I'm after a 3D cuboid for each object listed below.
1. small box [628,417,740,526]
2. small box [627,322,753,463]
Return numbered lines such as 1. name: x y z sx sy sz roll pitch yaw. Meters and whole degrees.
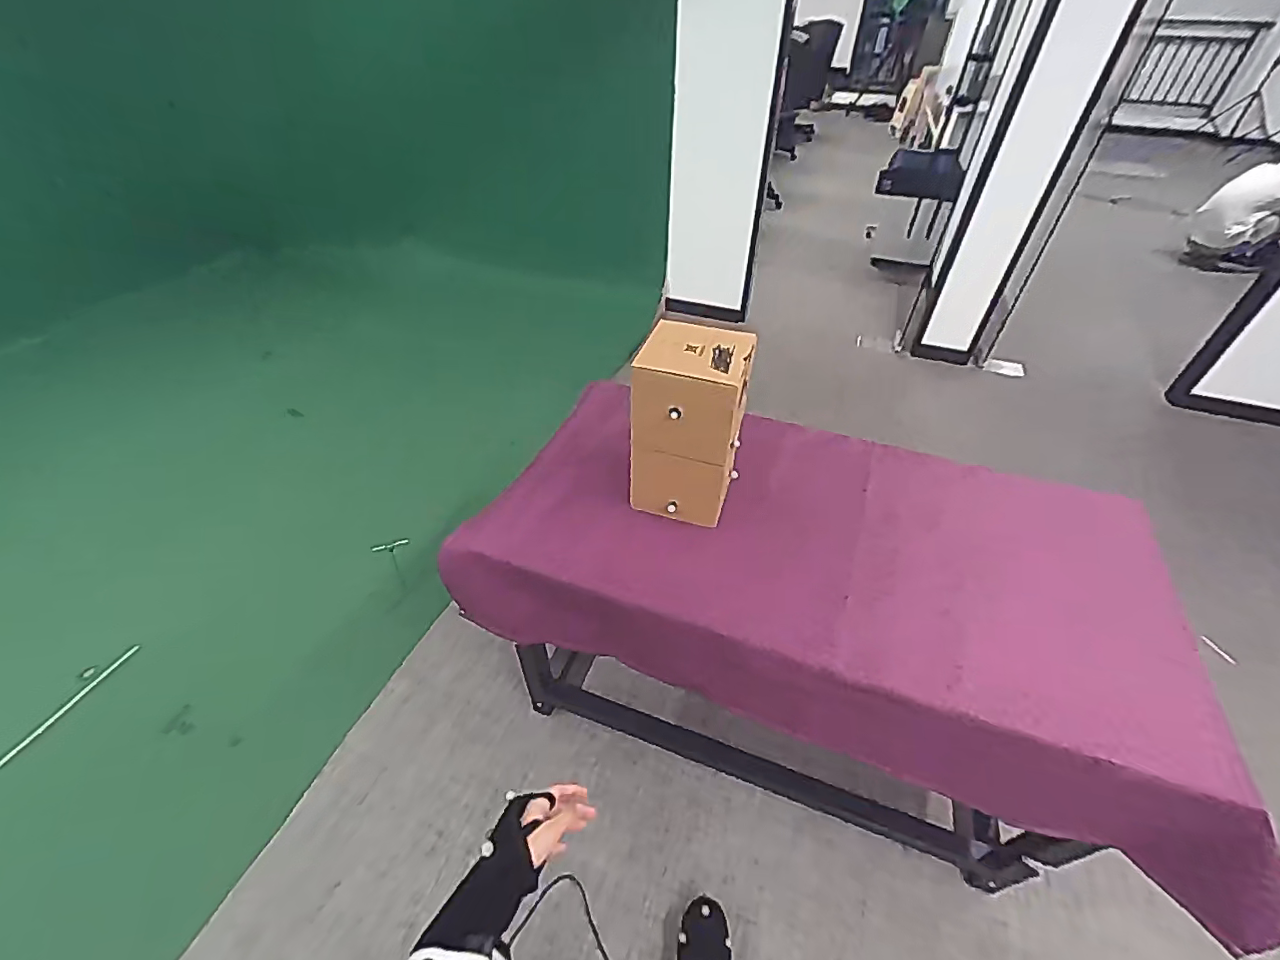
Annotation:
1. small box: 0.084 -0.033 1.061 0.179 0.176 0.168 14 46 13
2. small box: 0.087 -0.150 0.946 0.179 0.176 0.168 13 46 14
